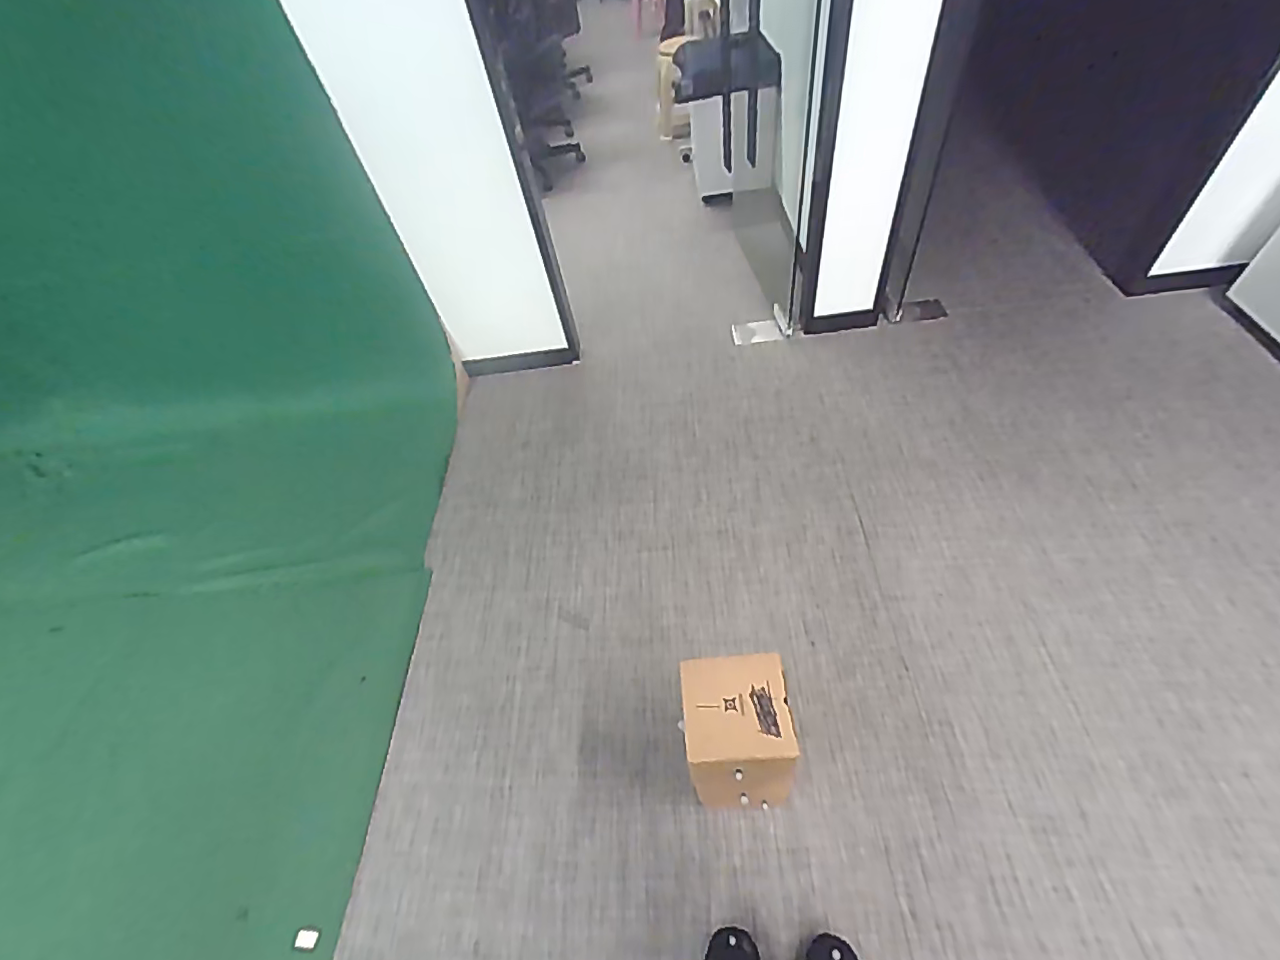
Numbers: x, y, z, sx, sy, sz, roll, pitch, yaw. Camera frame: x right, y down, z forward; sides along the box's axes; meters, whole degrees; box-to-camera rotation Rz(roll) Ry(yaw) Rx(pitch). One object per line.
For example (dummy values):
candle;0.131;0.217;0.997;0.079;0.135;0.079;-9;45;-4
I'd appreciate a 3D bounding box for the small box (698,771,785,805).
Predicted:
small box;0.218;0.619;1.209;0.179;0.176;0.168;-7;50;7

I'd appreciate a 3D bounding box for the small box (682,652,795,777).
small box;0.166;0.415;0.954;0.179;0.176;0.168;-4;49;7
